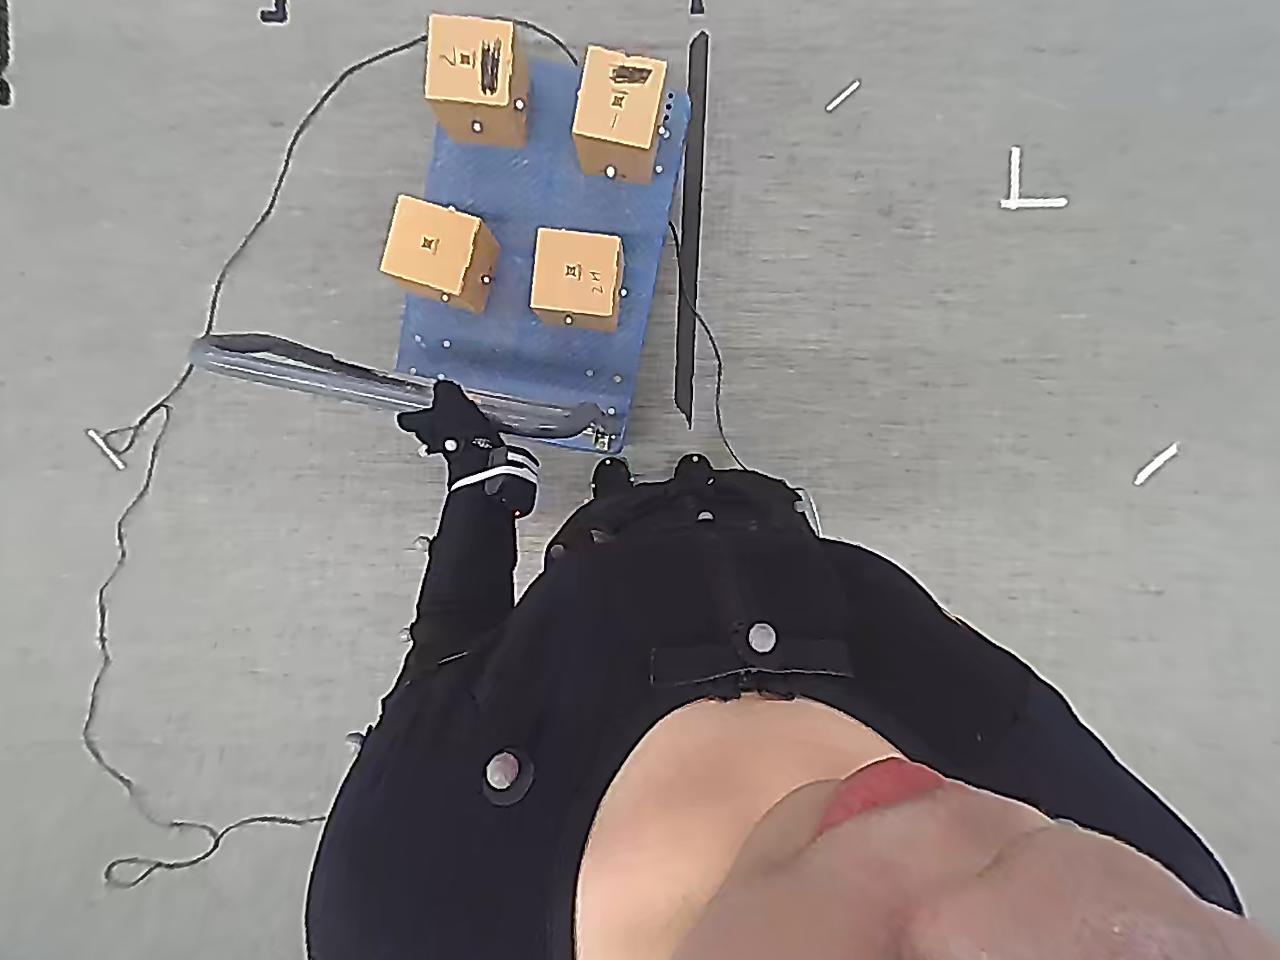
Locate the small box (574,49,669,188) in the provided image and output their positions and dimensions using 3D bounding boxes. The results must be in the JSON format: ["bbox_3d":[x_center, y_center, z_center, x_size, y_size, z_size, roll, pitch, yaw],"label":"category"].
[{"bbox_3d":[-0.038,-0.778,1.180,0.168,0.176,0.179,12,95,0],"label":"small box"}]

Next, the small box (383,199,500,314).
[{"bbox_3d":[-0.434,-0.488,1.207,0.179,0.176,0.168,16,93,-2],"label":"small box"}]

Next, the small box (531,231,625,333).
[{"bbox_3d":[-0.131,-0.432,1.207,0.179,0.176,0.168,7,94,0],"label":"small box"}]
